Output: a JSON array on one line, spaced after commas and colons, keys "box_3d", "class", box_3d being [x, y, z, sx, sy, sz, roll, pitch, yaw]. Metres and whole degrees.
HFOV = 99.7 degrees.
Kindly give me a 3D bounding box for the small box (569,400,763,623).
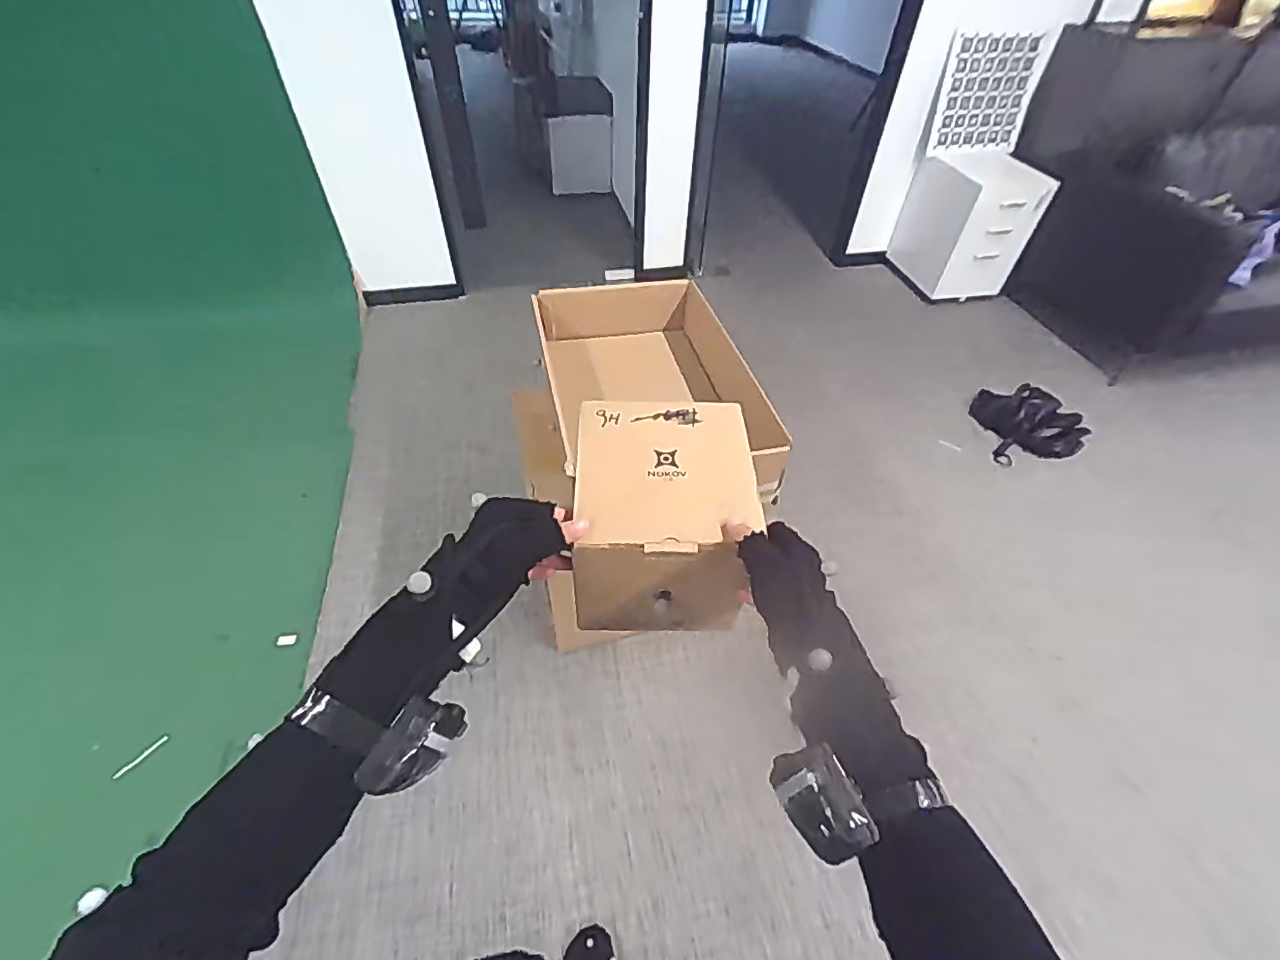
[{"box_3d": [0.020, 0.037, 0.561, 0.168, 0.176, 0.179, 1, 51, -3], "class": "small box"}]
